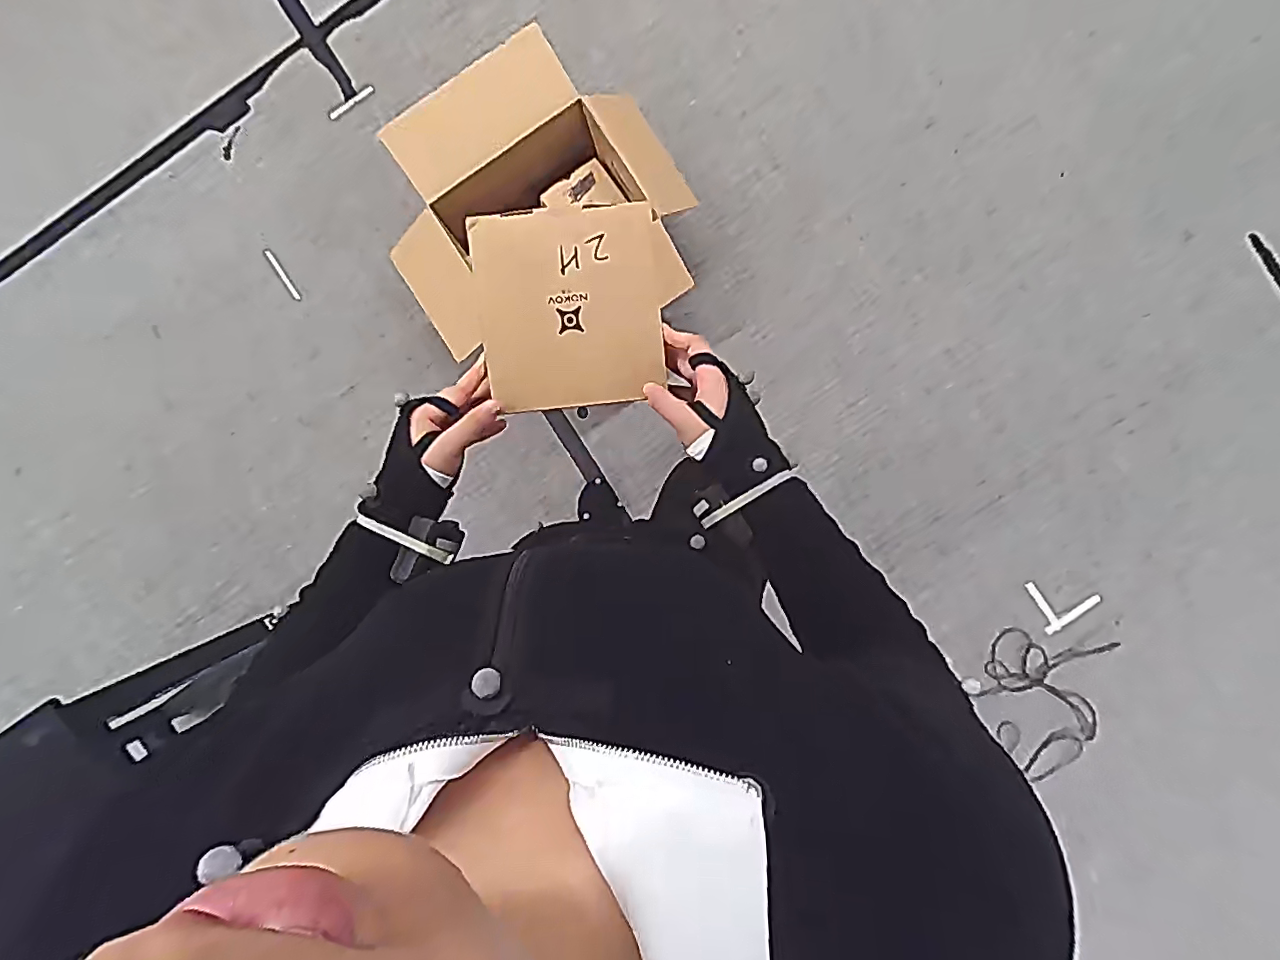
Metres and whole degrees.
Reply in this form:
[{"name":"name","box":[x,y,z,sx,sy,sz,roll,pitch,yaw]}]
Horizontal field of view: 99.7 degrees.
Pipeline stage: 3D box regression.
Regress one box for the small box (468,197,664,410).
[{"name":"small box","box":[-0.066,-0.172,0.568,0.168,0.176,0.179,-6,100,-2]}]
